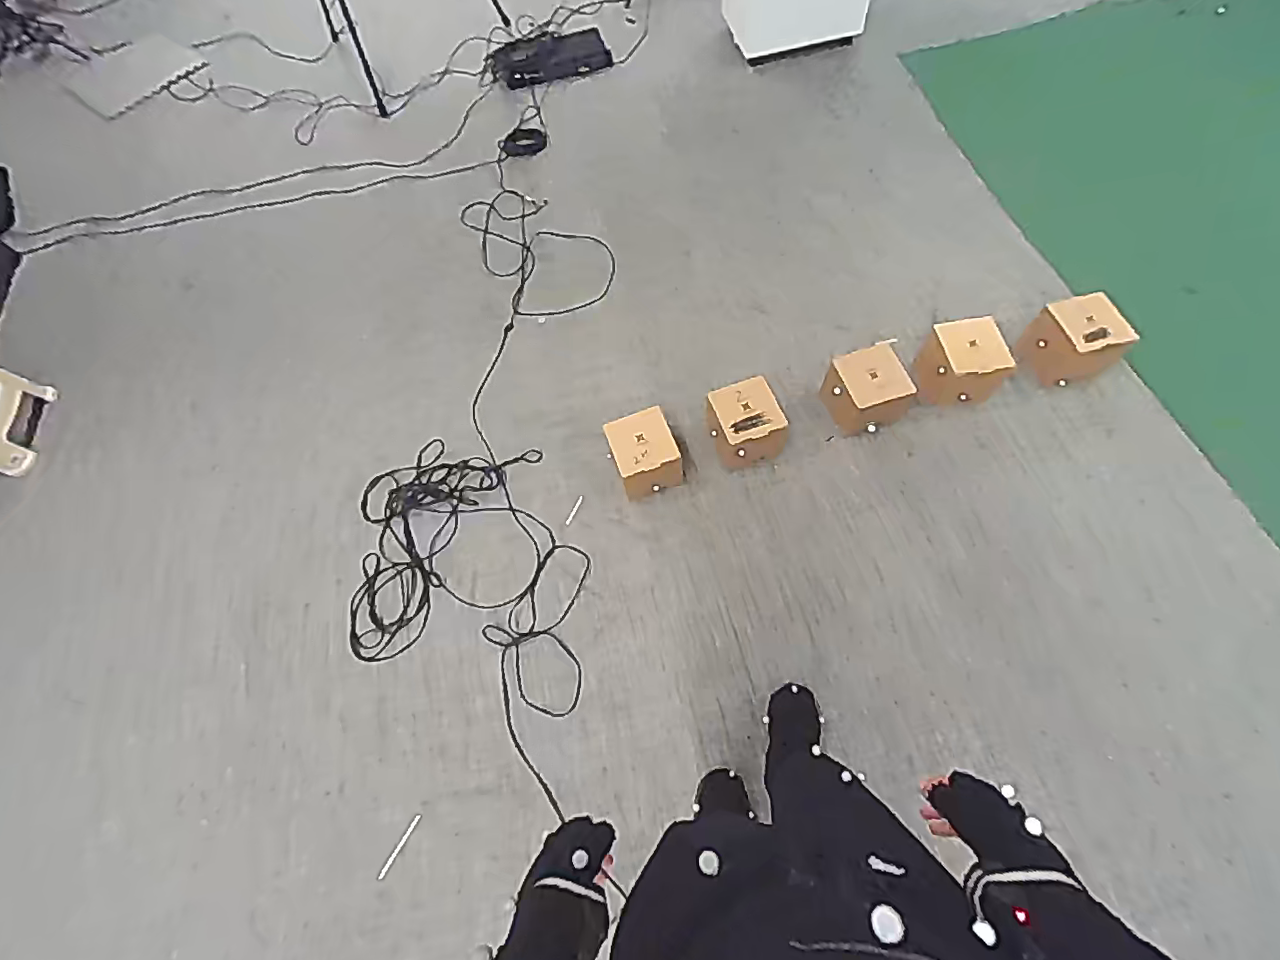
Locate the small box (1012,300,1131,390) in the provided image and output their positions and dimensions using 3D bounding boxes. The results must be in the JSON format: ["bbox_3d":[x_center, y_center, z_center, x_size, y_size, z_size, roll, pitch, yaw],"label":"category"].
[{"bbox_3d":[1.217,-0.376,1.542,0.168,0.176,0.179,-12,63,-1],"label":"small box"}]

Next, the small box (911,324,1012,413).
[{"bbox_3d":[0.904,-0.316,1.543,0.168,0.176,0.179,-8,65,1],"label":"small box"}]

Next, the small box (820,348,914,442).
[{"bbox_3d":[0.630,-0.237,1.531,0.168,0.176,0.179,-17,66,-1],"label":"small box"}]

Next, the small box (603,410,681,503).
[{"bbox_3d":[0.008,-0.061,1.506,0.168,0.176,0.179,-20,65,-3],"label":"small box"}]
